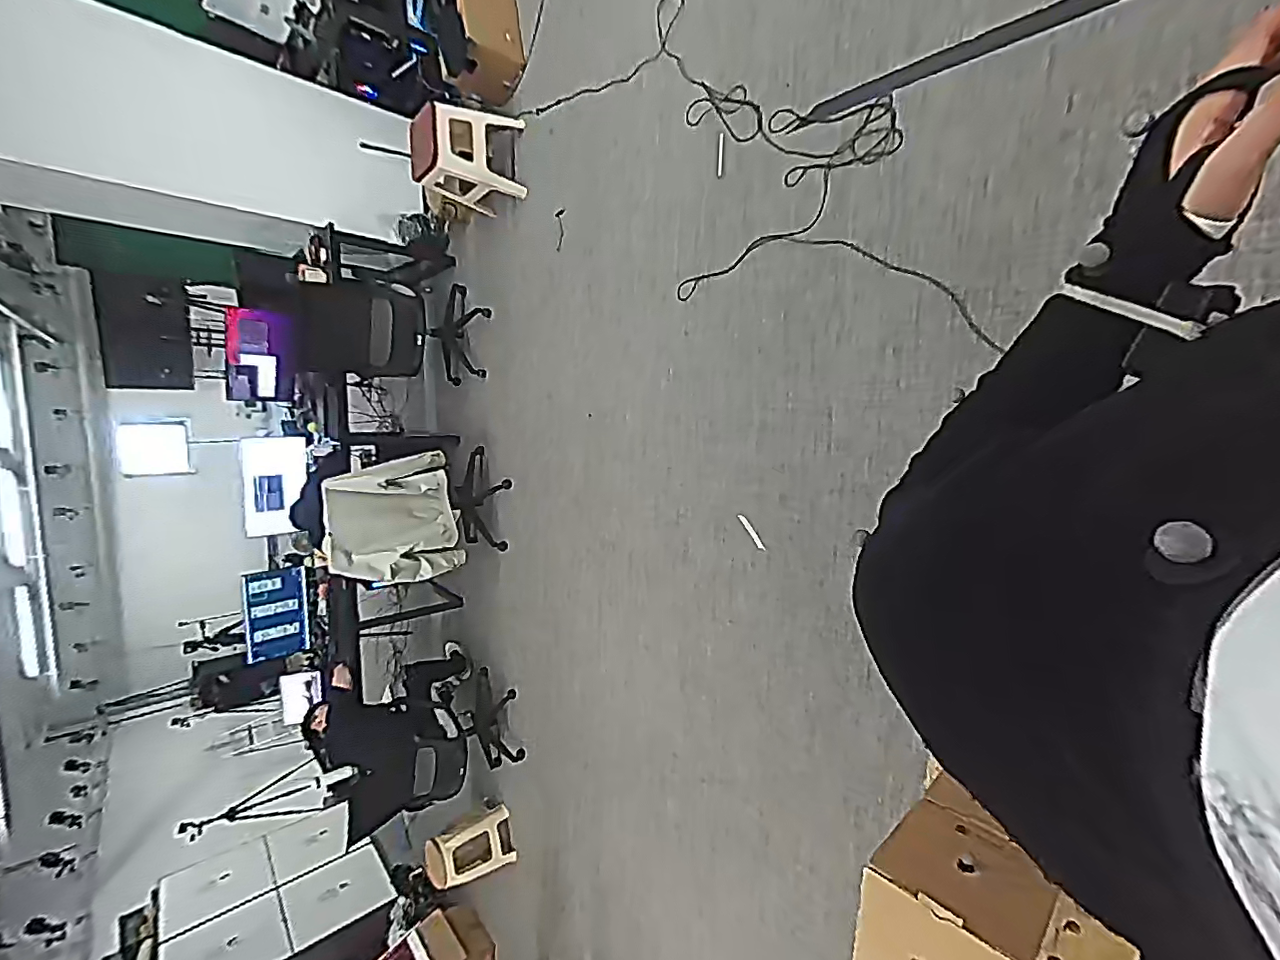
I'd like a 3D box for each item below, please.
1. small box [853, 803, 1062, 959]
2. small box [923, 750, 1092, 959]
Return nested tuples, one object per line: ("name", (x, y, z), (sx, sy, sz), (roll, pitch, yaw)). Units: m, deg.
("small box", (0.376, 0.533, 0.642), (0.168, 0.176, 0.179), (12, 102, 46))
("small box", (0.500, 0.519, 0.748), (0.168, 0.176, 0.179), (10, 101, 46))
